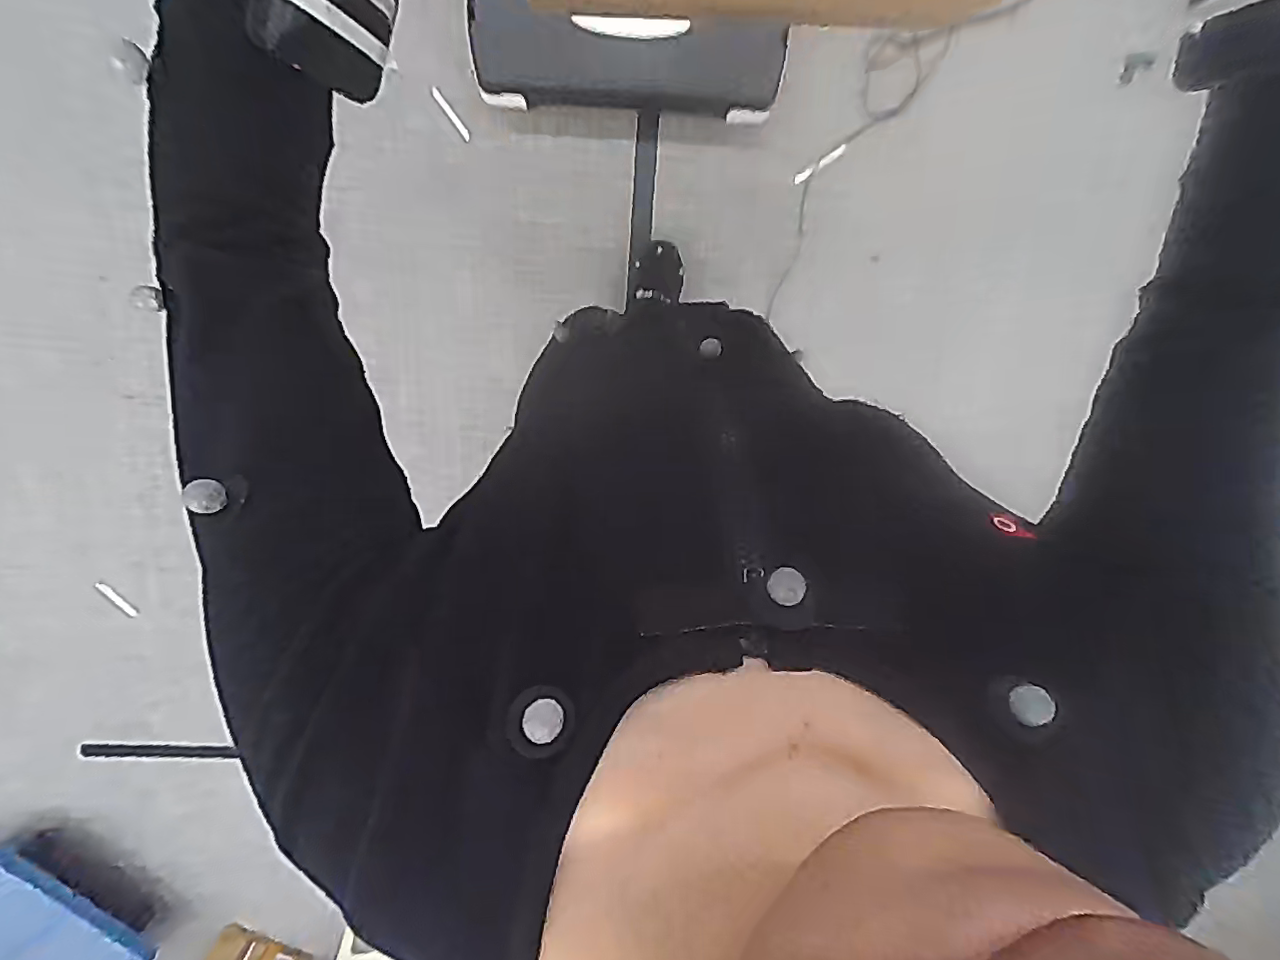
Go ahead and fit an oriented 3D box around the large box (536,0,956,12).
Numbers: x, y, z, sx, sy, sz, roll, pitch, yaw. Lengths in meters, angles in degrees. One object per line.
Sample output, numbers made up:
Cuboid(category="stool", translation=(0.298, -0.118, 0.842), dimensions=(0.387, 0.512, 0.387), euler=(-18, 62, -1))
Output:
Cuboid(category="large box", translation=(0.101, -0.513, 0.316), dimensions=(0.408, 0.320, 0.320), euler=(0, 120, -1))
